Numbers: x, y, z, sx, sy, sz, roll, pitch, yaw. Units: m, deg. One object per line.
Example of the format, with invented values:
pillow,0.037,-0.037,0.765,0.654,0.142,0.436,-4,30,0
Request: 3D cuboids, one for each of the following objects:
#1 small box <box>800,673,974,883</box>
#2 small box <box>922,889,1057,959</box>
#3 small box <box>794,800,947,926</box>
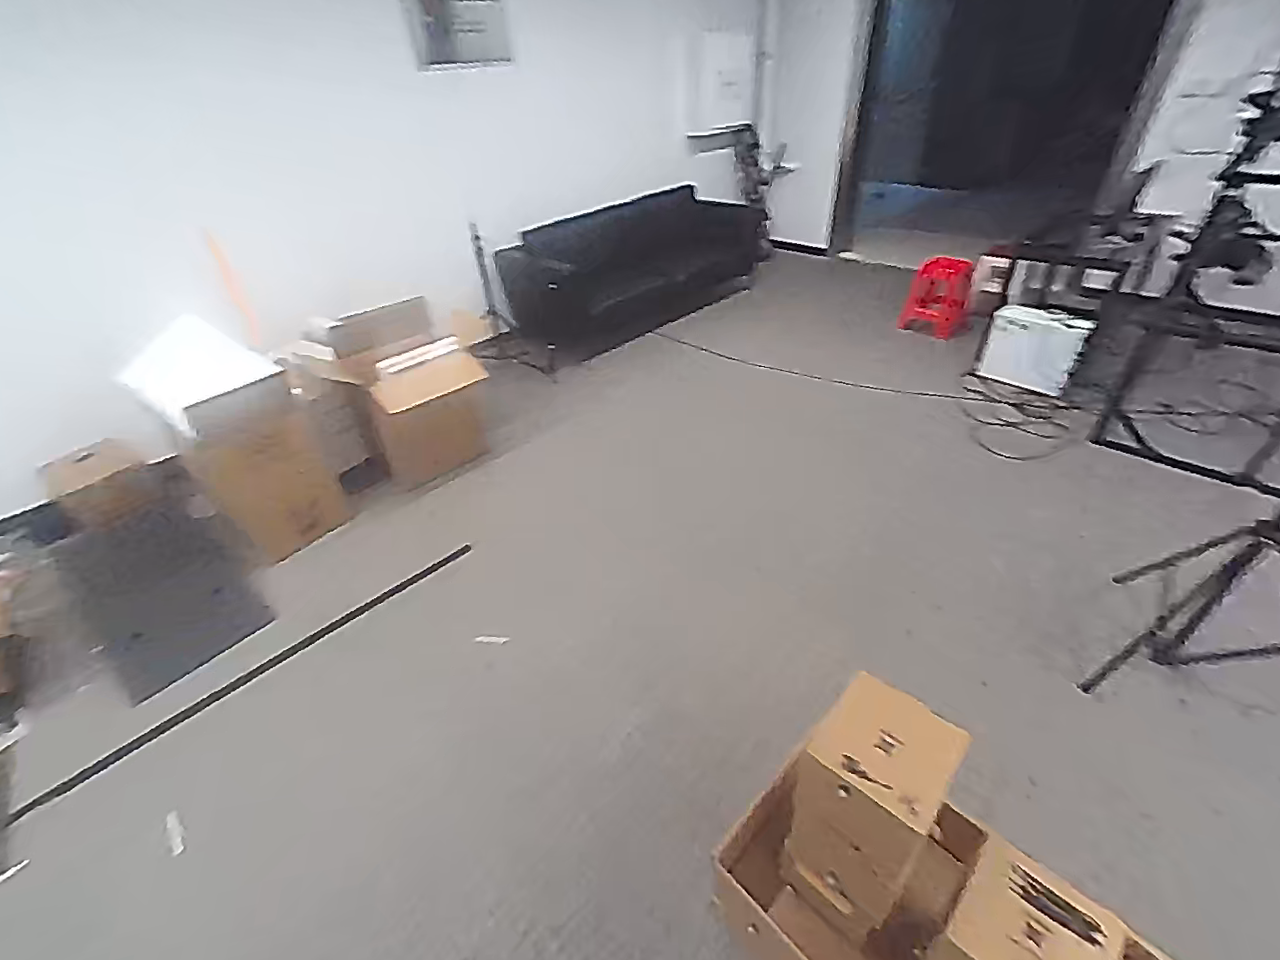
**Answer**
small box,0.355,0.435,0.800,0.168,0.176,0.179,27,46,37
small box,0.536,0.801,0.838,0.179,0.176,0.168,-30,42,-30
small box,0.370,0.571,0.892,0.168,0.176,0.179,27,47,37
